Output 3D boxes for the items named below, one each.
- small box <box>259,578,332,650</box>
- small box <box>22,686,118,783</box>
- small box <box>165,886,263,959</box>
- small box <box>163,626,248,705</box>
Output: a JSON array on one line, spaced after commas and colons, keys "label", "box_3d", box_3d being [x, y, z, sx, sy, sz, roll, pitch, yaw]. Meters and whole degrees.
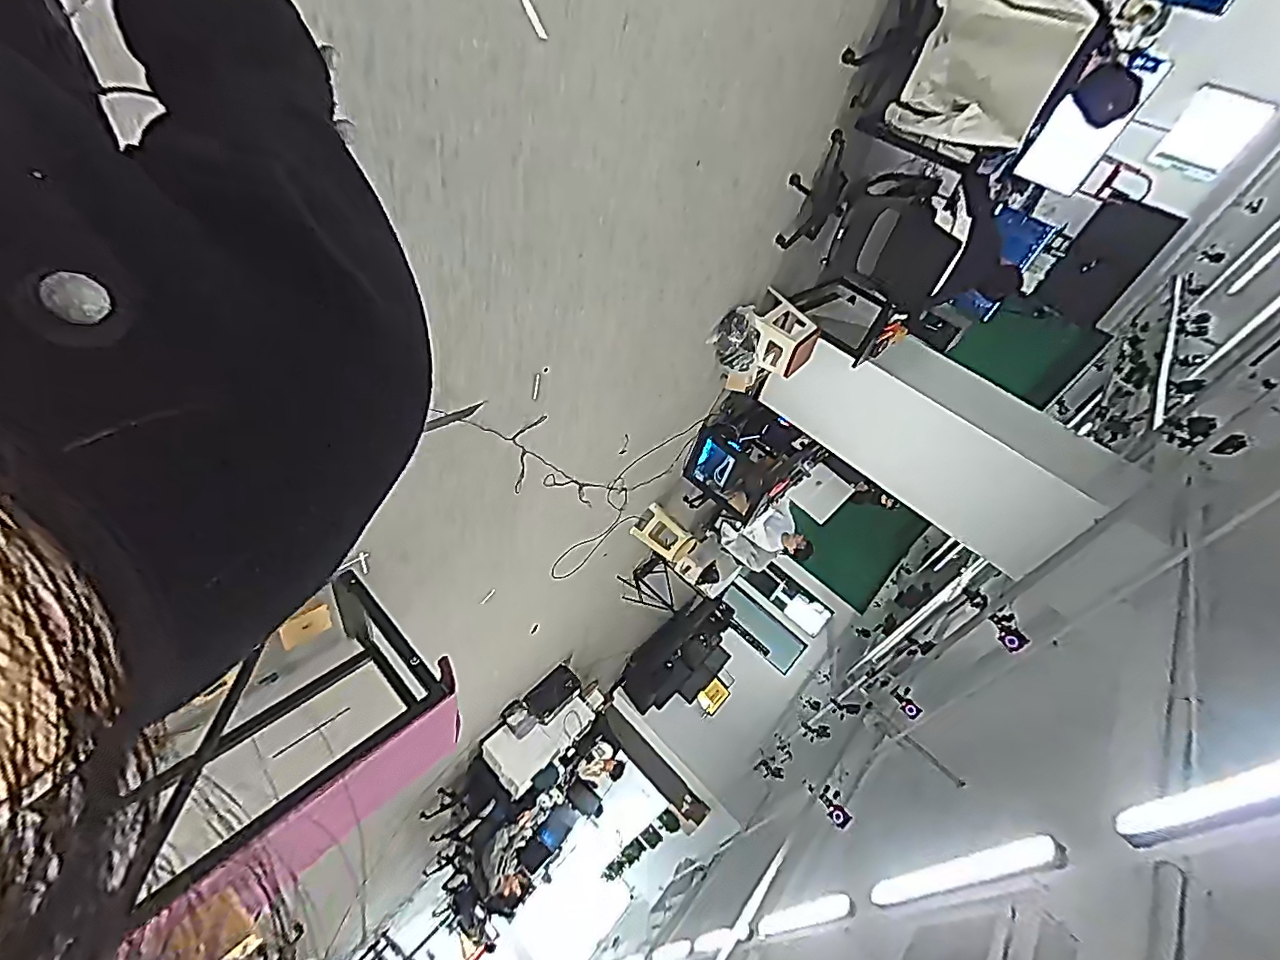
[{"label": "small box", "box_3d": [-1.335, 0.515, 2.099, 0.179, 0.176, 0.168, -29, 150, -41]}, {"label": "small box", "box_3d": [-1.770, 0.784, 1.679, 0.179, 0.176, 0.168, -20, 144, -55]}, {"label": "small box", "box_3d": [-1.277, 1.378, 1.621, 0.179, 0.176, 0.168, -31, 153, -41]}, {"label": "small box", "box_3d": [-1.538, 0.652, 1.916, 0.168, 0.176, 0.179, -32, 152, -39]}]
